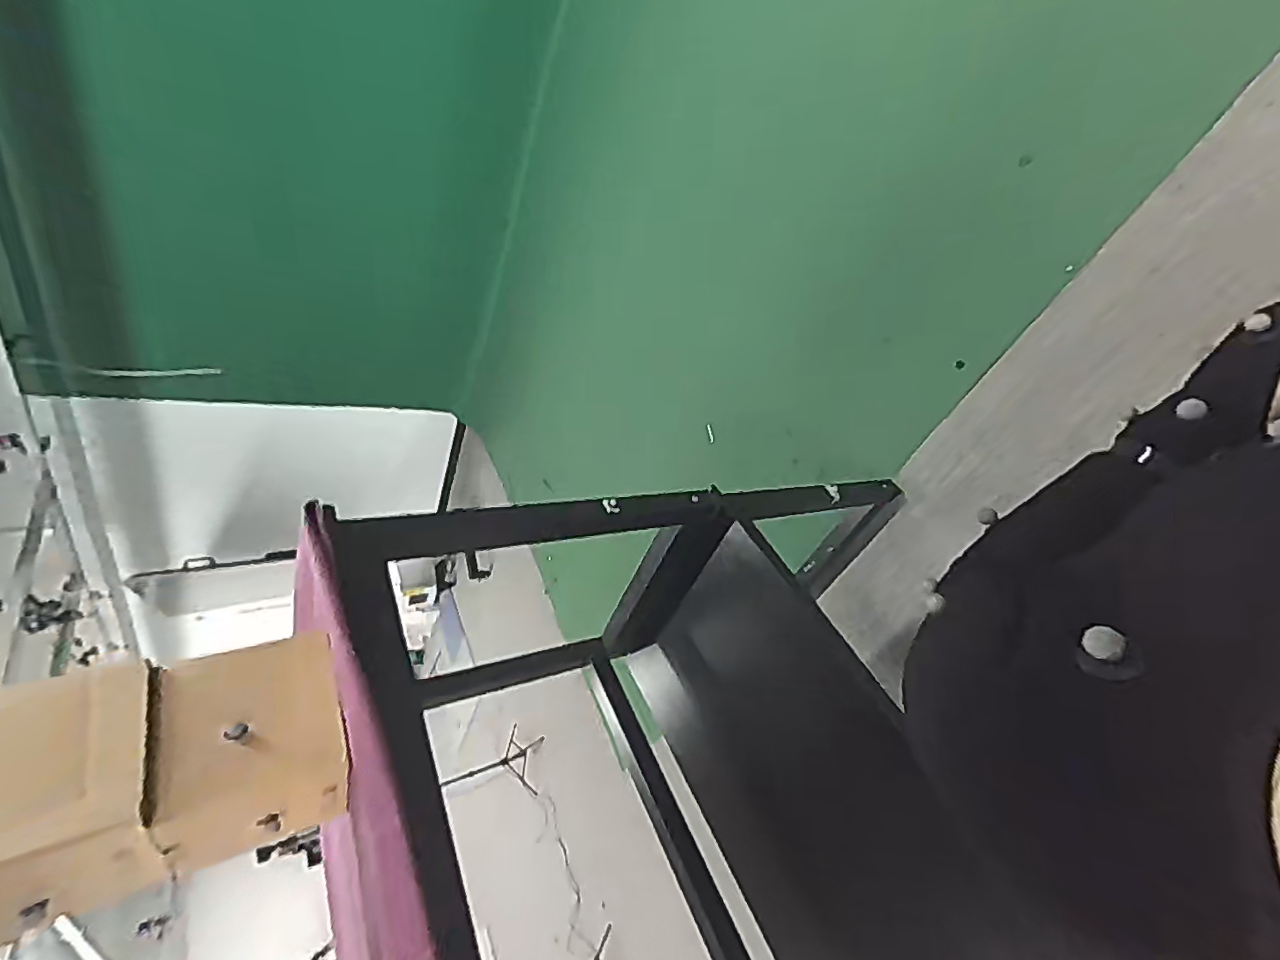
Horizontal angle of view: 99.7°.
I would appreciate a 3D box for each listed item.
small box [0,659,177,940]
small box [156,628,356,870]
[{"bbox_3d":[-0.571,0.310,0.537,0.179,0.176,0.168,56,136,34],"label":"small box"},{"bbox_3d":[-0.443,0.305,0.638,0.179,0.176,0.168,55,136,33],"label":"small box"}]
